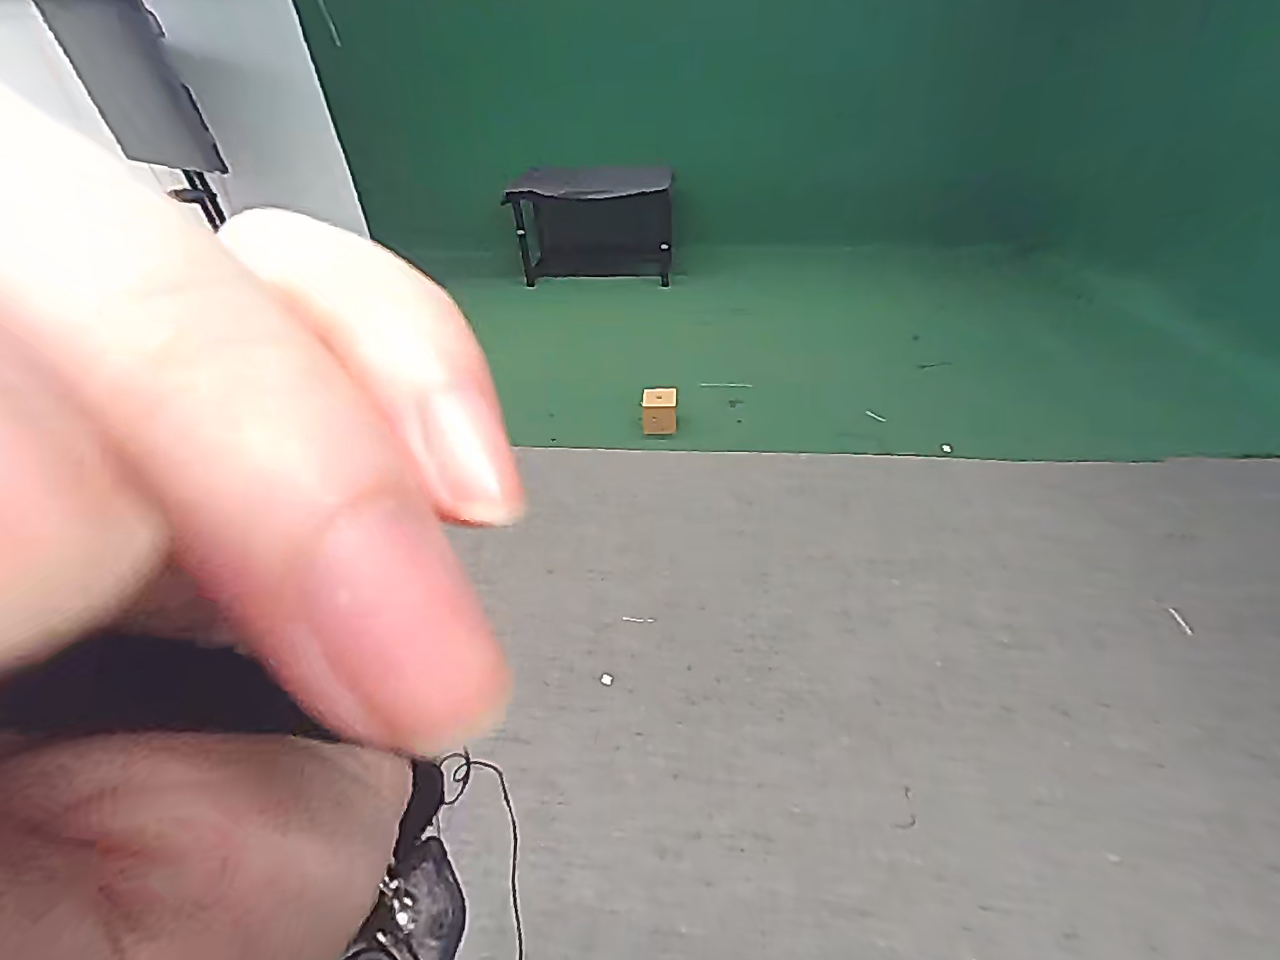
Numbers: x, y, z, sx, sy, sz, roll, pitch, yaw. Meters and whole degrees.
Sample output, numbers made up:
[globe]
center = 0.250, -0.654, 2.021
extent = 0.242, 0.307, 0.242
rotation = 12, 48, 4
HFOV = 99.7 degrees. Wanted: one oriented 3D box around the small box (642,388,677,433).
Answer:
[small box]
center = 0.102, -0.349, 2.740
extent = 0.168, 0.176, 0.179
rotation = 0, 38, 5
